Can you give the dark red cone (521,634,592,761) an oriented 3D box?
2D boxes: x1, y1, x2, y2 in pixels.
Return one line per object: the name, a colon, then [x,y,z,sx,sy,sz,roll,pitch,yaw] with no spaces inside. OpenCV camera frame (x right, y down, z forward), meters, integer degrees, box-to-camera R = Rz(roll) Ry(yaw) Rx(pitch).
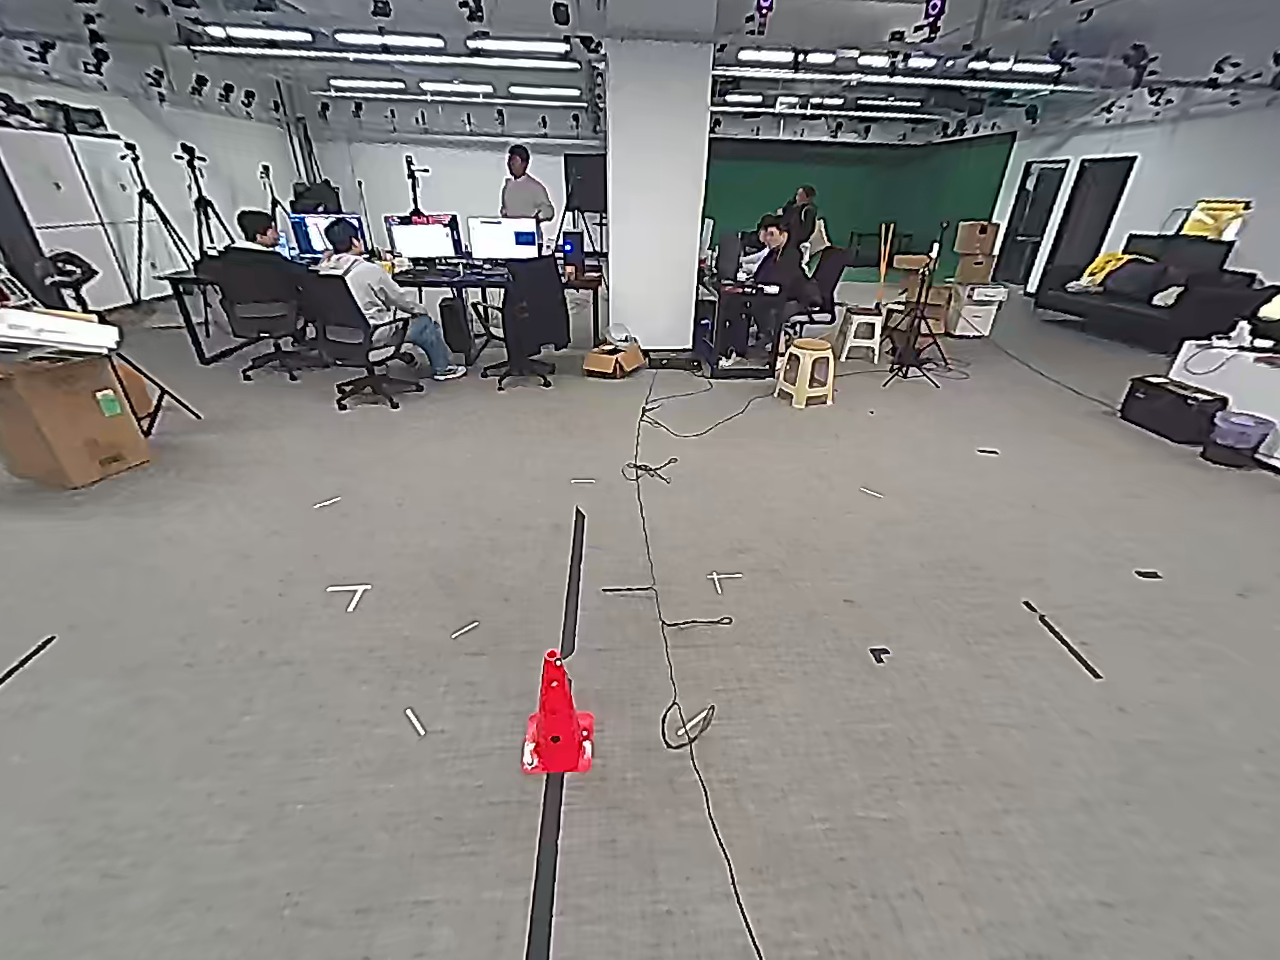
dark red cone: [-0.236,0.597,1.522,0.201,0.394,0.202,1,28,-4]
